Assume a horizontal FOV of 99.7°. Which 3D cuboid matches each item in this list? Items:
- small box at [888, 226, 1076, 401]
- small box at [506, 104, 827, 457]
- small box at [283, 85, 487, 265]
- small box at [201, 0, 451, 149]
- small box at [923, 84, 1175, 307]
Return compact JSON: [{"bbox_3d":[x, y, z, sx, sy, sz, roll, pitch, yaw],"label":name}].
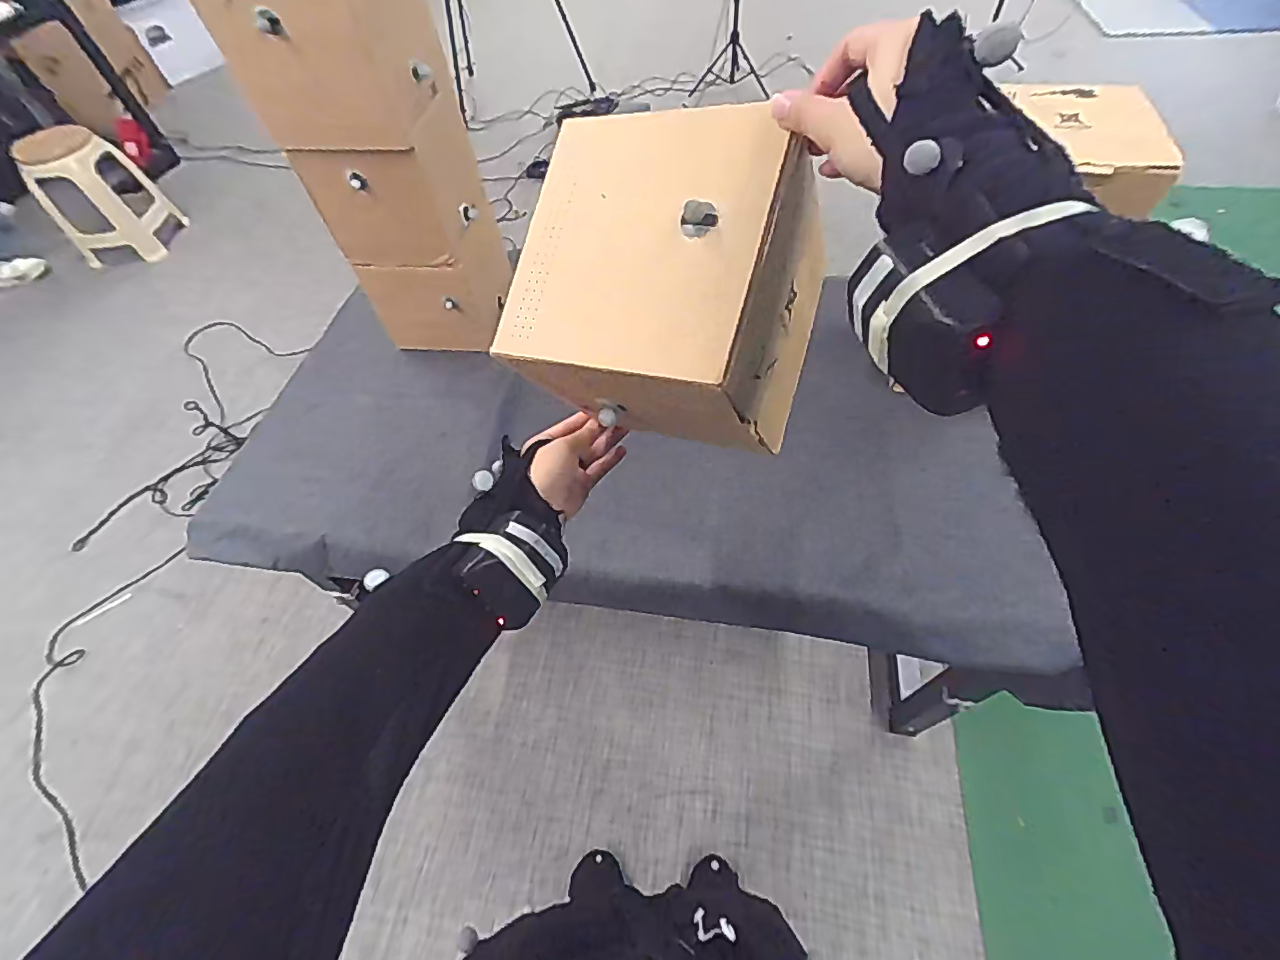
[{"bbox_3d":[0.463,-0.239,0.767,0.168,0.176,0.179,8,59,10],"label":"small box"},{"bbox_3d":[0.028,-0.134,0.403,0.176,0.168,0.179,14,84,26],"label":"small box"},{"bbox_3d":[-0.338,-0.423,0.758,0.179,0.176,0.168,3,59,5],"label":"small box"},{"bbox_3d":[-0.346,-0.503,0.615,0.179,0.176,0.168,5,59,6],"label":"small box"},{"bbox_3d":[0.446,-0.324,0.627,0.168,0.176,0.179,8,59,10],"label":"small box"}]
